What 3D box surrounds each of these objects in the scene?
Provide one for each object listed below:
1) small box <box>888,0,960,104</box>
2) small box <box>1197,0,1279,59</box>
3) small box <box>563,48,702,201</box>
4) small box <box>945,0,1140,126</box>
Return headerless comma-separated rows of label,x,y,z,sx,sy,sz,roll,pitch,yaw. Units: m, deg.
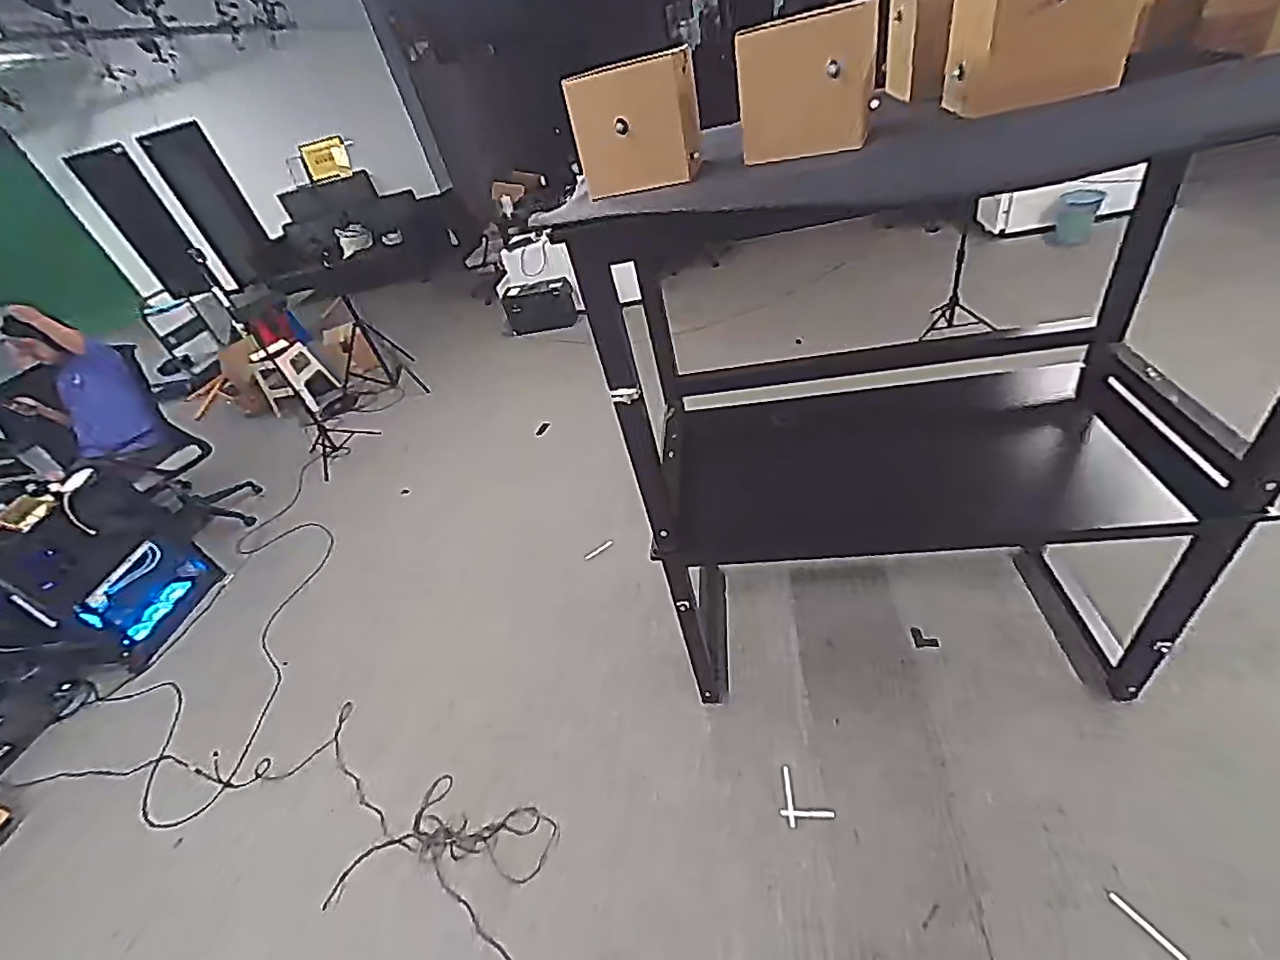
small box,0.546,-0.787,0.955,0.168,0.176,0.179,-6,40,13
small box,0.869,-0.652,0.678,0.168,0.176,0.179,-1,41,19
small box,0.001,-0.584,0.893,0.179,0.176,0.168,-2,39,18
small box,0.555,-0.626,0.760,0.179,0.176,0.168,-6,40,13
